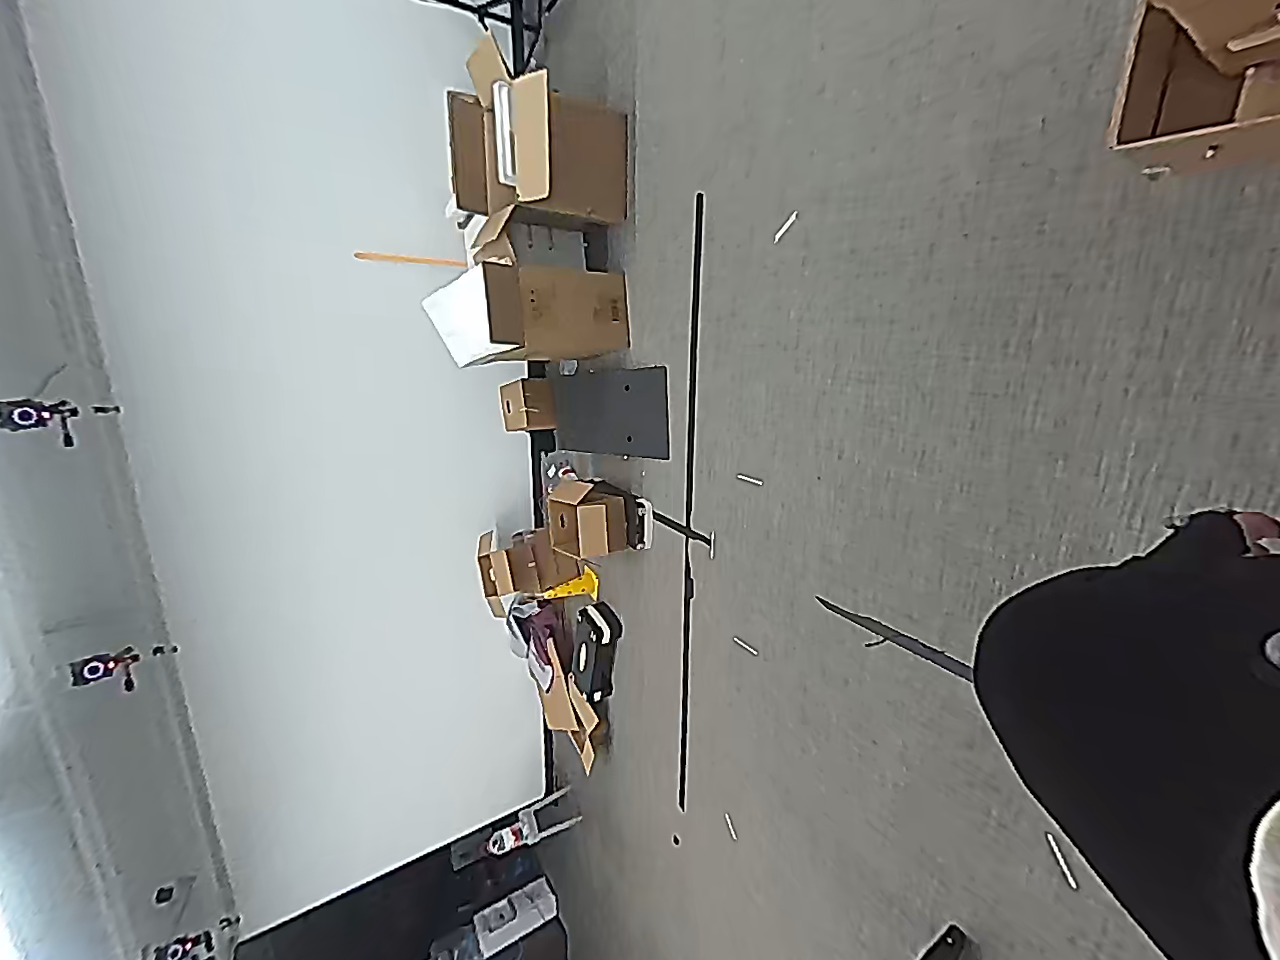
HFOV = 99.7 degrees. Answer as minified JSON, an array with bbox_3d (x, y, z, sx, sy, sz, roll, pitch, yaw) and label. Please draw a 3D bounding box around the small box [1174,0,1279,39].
[{"bbox_3d":[0.723,-0.636,0.588,0.168,0.176,0.179,20,115,55],"label":"small box"}]
